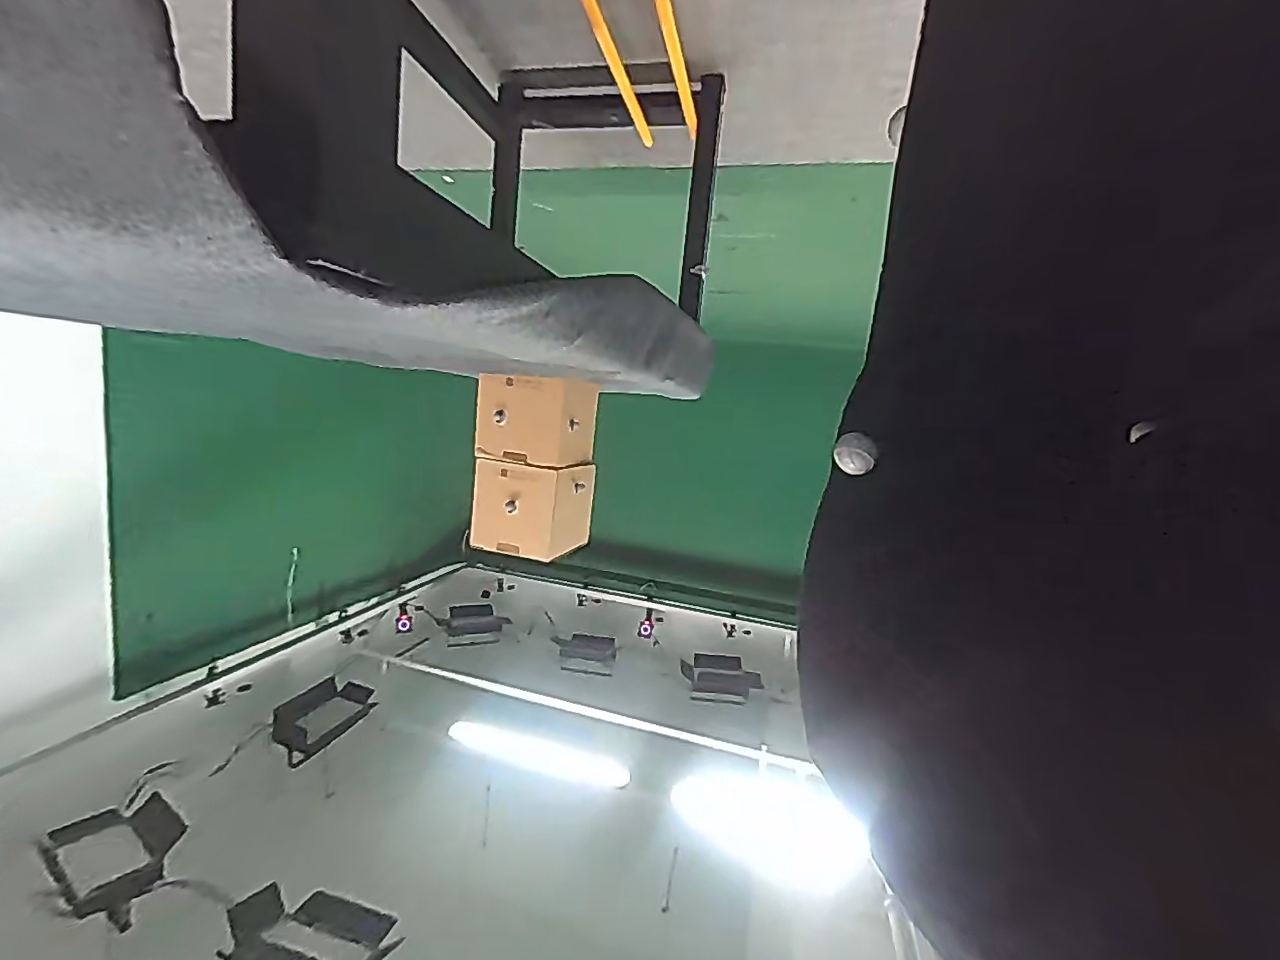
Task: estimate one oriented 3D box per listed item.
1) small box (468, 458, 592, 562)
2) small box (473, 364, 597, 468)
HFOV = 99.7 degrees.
[{"bbox_3d":[-0.203,0.043,1.025,0.168,0.176,0.179,10,-173,17],"label":"small box"},{"bbox_3d":[-0.189,-0.120,1.007,0.168,0.176,0.179,9,-172,14],"label":"small box"}]
